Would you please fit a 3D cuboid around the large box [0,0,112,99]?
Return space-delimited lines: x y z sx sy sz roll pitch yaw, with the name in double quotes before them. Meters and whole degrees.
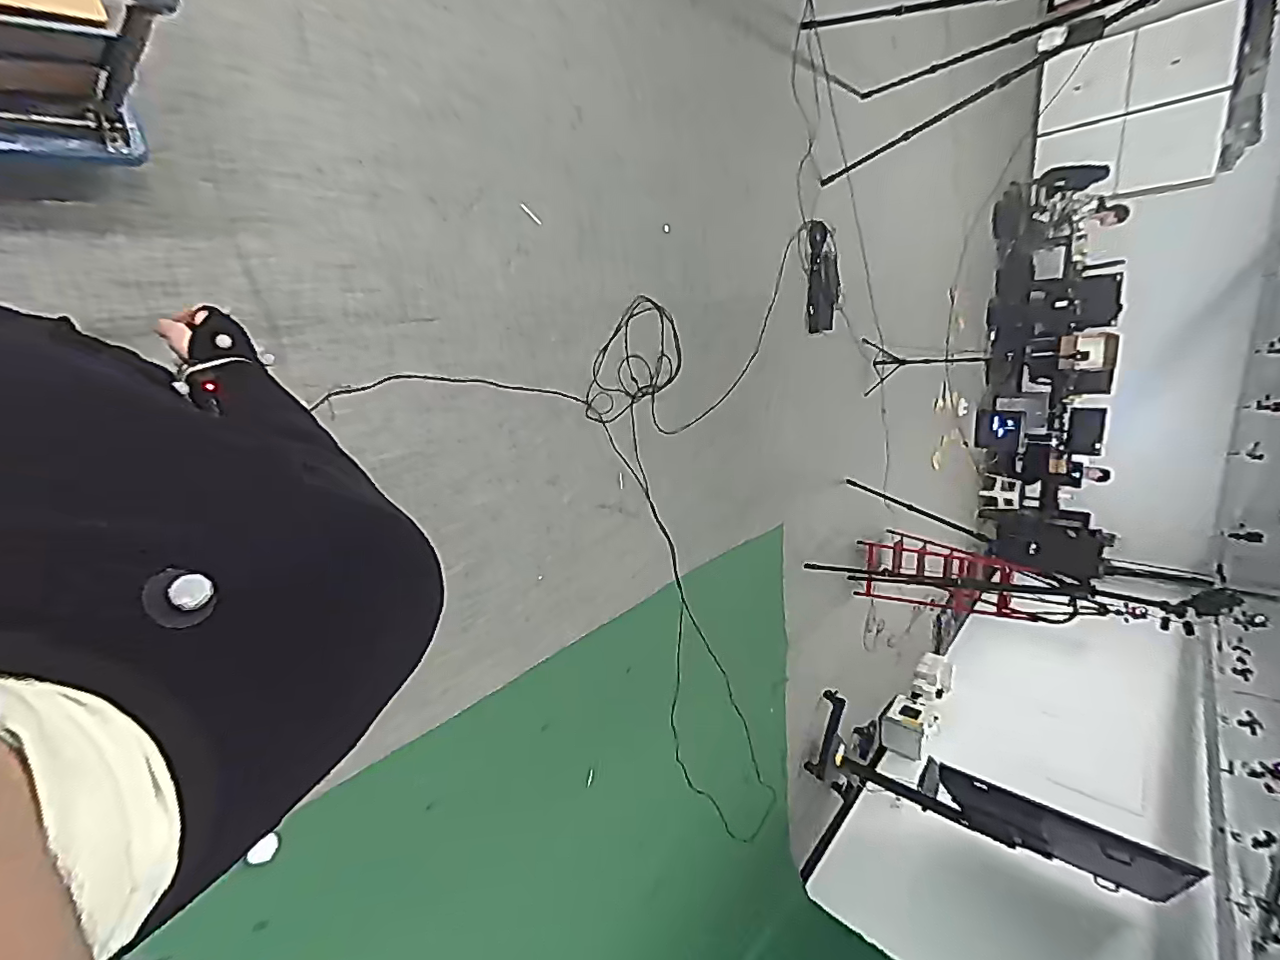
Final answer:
"large box" -1.032 -0.822 0.752 0.320 0.320 0.408 -28 115 -41
